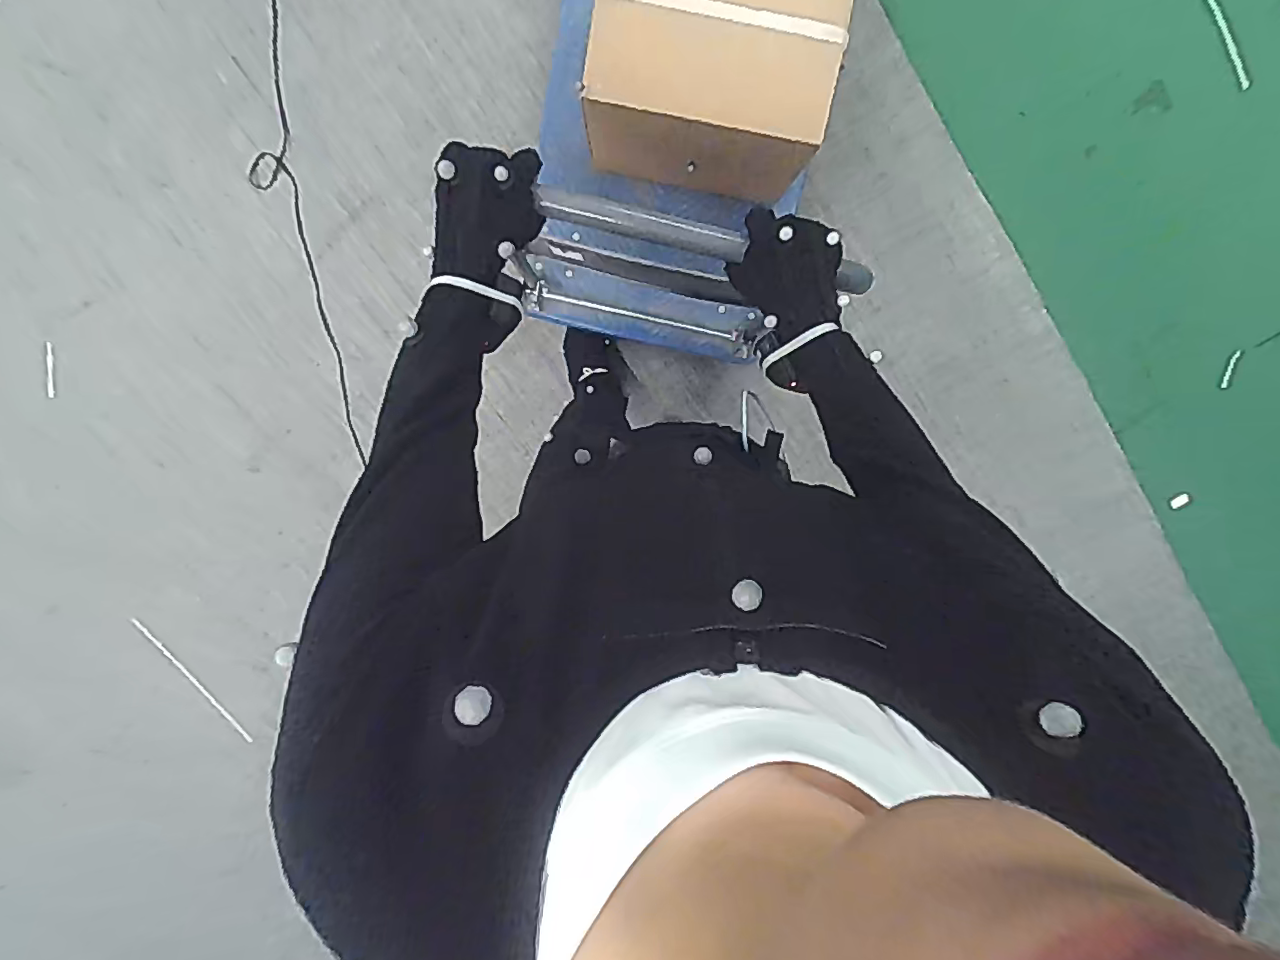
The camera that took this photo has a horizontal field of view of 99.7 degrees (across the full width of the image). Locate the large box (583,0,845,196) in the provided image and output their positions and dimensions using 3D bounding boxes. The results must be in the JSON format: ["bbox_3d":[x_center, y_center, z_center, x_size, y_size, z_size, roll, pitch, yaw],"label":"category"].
[{"bbox_3d":[0.126,-0.769,1.014,0.408,0.320,0.320,9,100,-2],"label":"large box"}]
